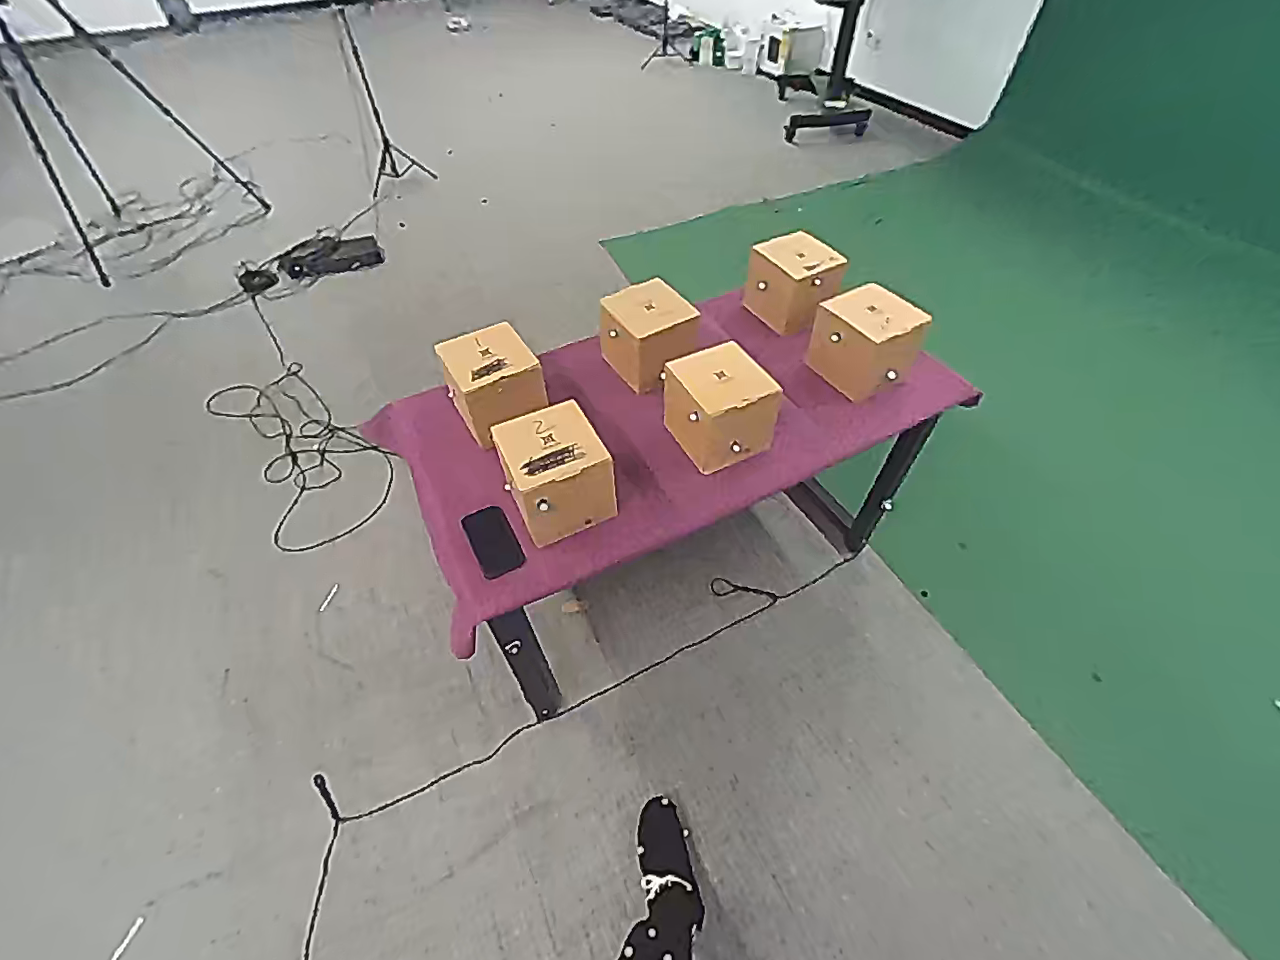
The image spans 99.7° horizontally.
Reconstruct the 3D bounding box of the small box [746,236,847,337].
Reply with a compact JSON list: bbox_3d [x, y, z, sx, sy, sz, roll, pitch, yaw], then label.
[{"bbox_3d":[0.394,-0.499,1.398,0.168,0.176,0.179,-24,55,-18],"label":"small box"}]

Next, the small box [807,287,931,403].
[{"bbox_3d":[0.512,-0.308,1.239,0.168,0.176,0.179,-24,54,-17],"label":"small box"}]

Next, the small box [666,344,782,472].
[{"bbox_3d":[0.161,-0.147,1.114,0.168,0.176,0.179,-21,53,-16],"label":"small box"}]

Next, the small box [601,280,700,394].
[{"bbox_3d":[0.020,-0.334,1.267,0.168,0.176,0.179,-26,56,-18],"label":"small box"}]

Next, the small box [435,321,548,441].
[{"bbox_3d":[-0.311,-0.205,1.160,0.168,0.176,0.179,-25,55,-20],"label":"small box"}]
